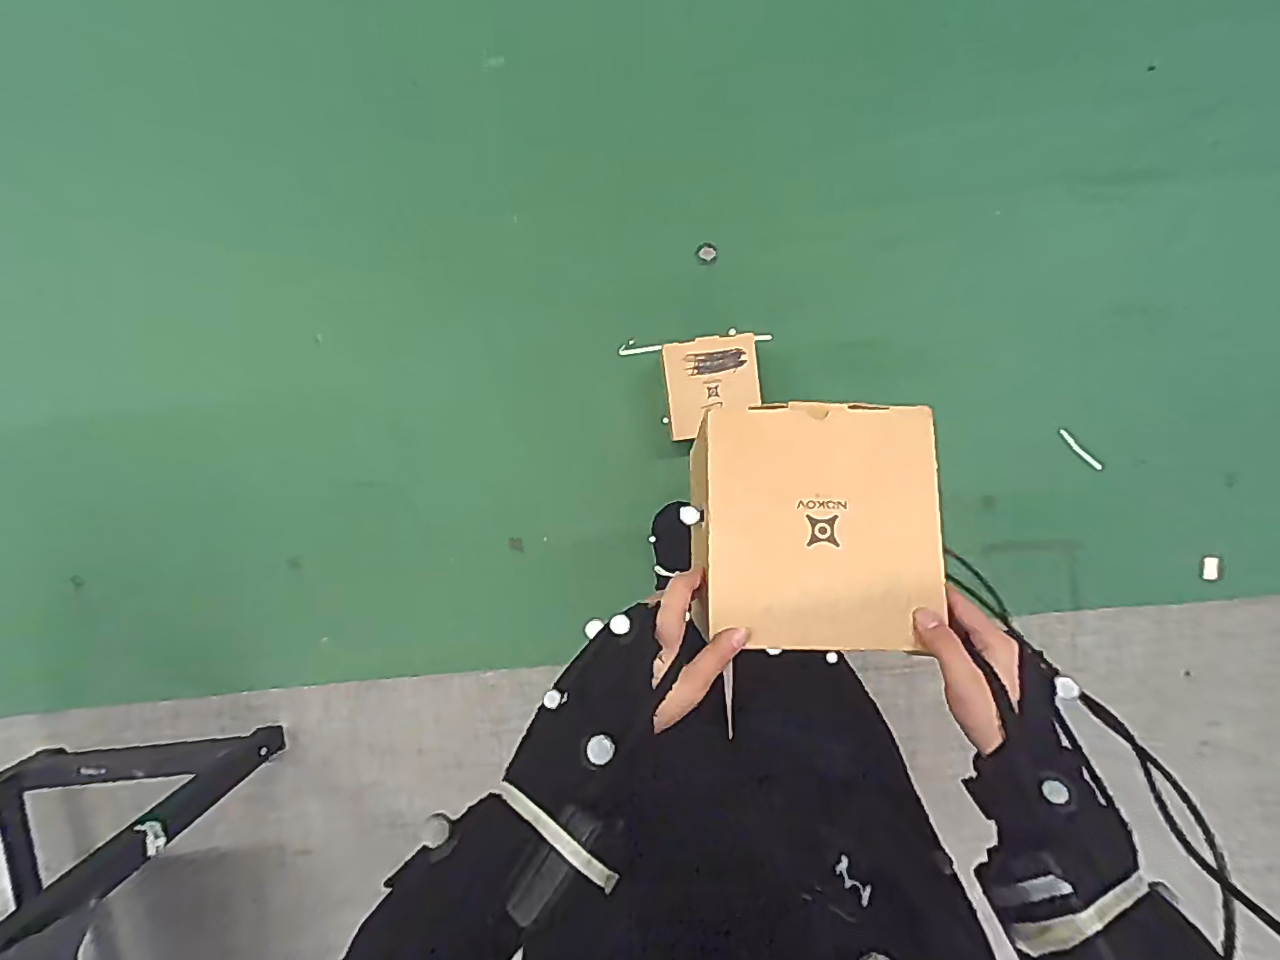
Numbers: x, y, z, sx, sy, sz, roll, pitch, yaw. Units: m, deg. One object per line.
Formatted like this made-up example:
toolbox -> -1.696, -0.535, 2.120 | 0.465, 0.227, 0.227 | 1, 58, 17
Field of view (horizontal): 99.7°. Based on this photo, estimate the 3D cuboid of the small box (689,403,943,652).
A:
small box -> 0.131, 0.041, 0.462 | 0.168, 0.176, 0.179 | 1, 81, 1
